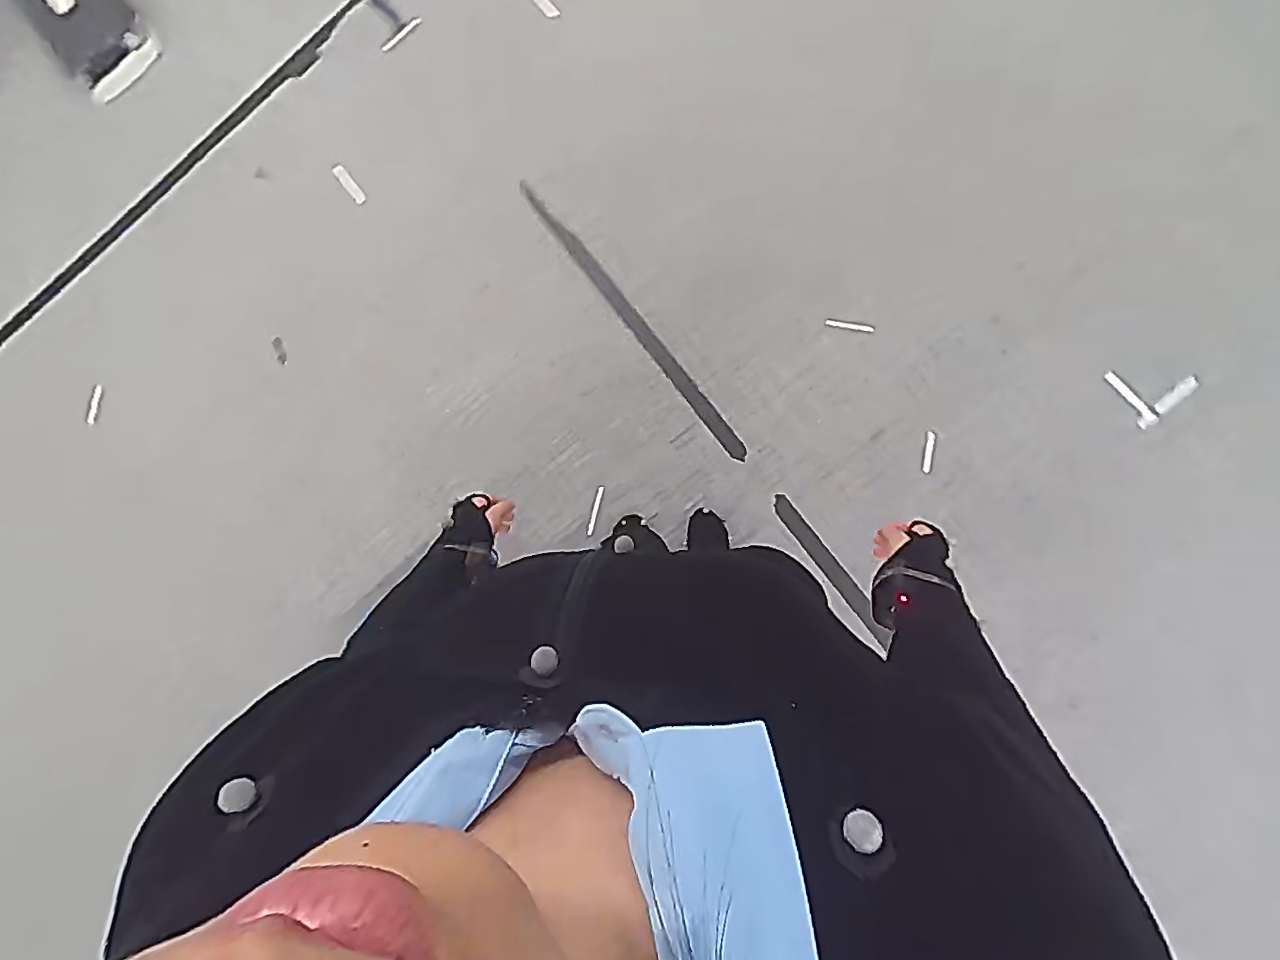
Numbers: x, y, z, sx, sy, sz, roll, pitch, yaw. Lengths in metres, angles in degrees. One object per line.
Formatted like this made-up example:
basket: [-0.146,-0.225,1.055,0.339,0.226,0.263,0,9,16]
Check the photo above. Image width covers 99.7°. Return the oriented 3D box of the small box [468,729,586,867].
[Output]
small box: [-0.246,0.707,1.223,0.179,0.176,0.168,-37,84,3]
